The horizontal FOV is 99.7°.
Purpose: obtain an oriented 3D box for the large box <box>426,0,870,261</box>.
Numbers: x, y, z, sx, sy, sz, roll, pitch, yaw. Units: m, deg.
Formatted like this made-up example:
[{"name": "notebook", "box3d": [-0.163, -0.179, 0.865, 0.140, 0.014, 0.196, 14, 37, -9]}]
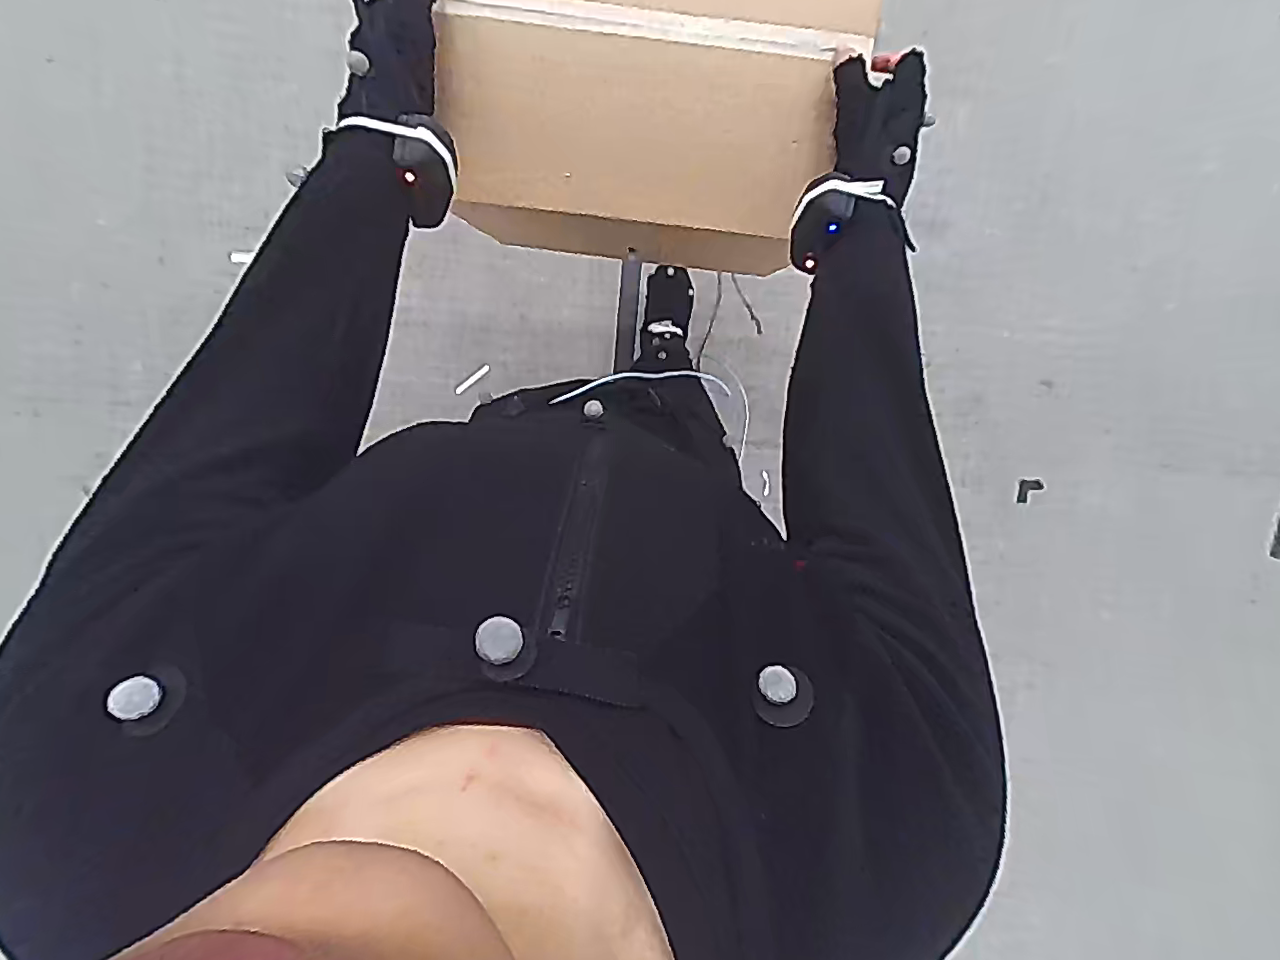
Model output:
[{"name": "large box", "box3d": [0.009, -0.452, 0.632, 0.408, 0.320, 0.320, 6, 104, -1]}]
